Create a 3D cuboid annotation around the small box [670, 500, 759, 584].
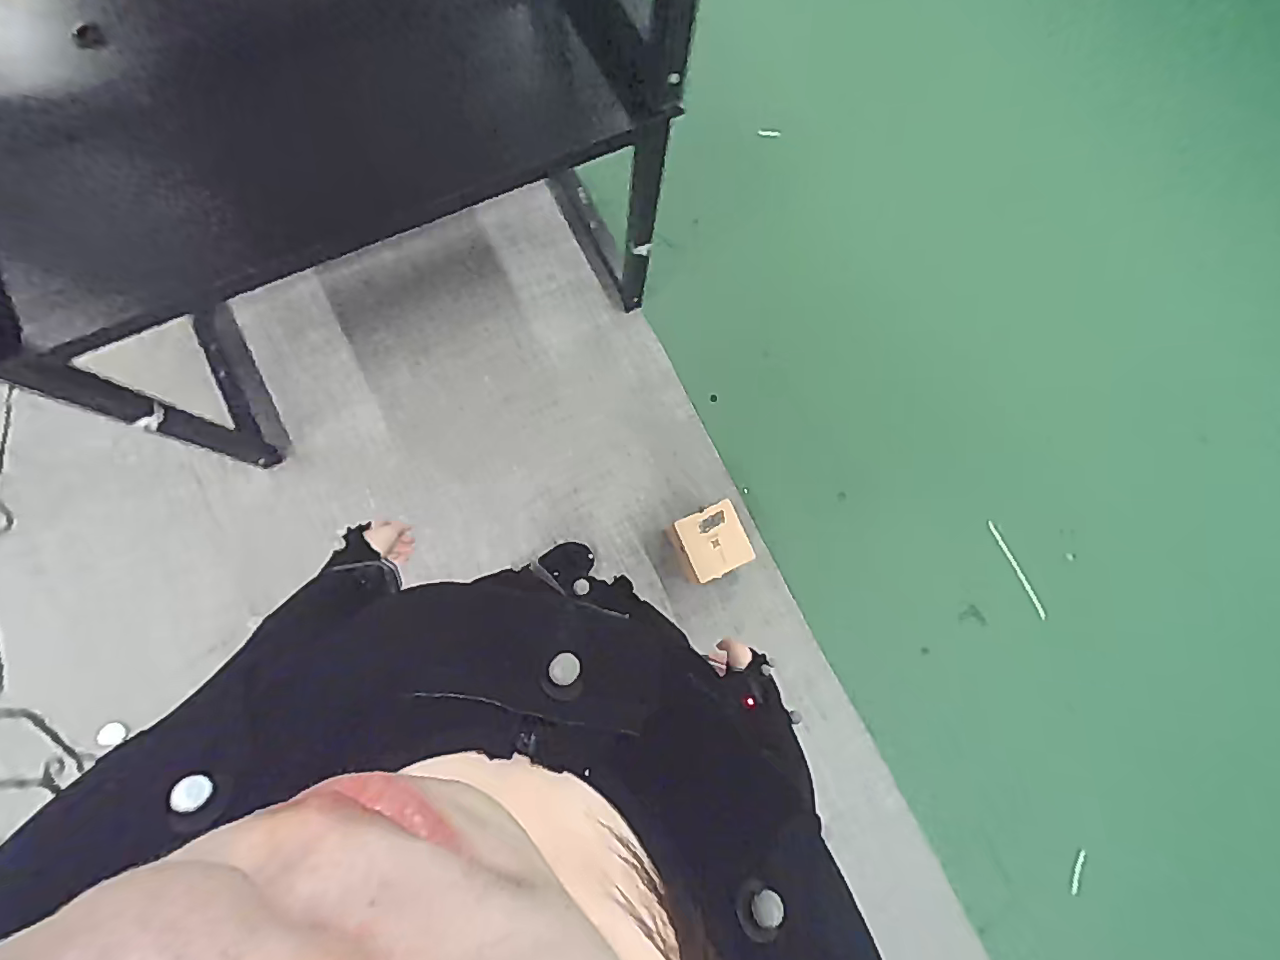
[{"bbox_3d":[0.192,0.172,1.465,0.168,0.176,0.179,-22,83,-8],"label":"small box"}]
